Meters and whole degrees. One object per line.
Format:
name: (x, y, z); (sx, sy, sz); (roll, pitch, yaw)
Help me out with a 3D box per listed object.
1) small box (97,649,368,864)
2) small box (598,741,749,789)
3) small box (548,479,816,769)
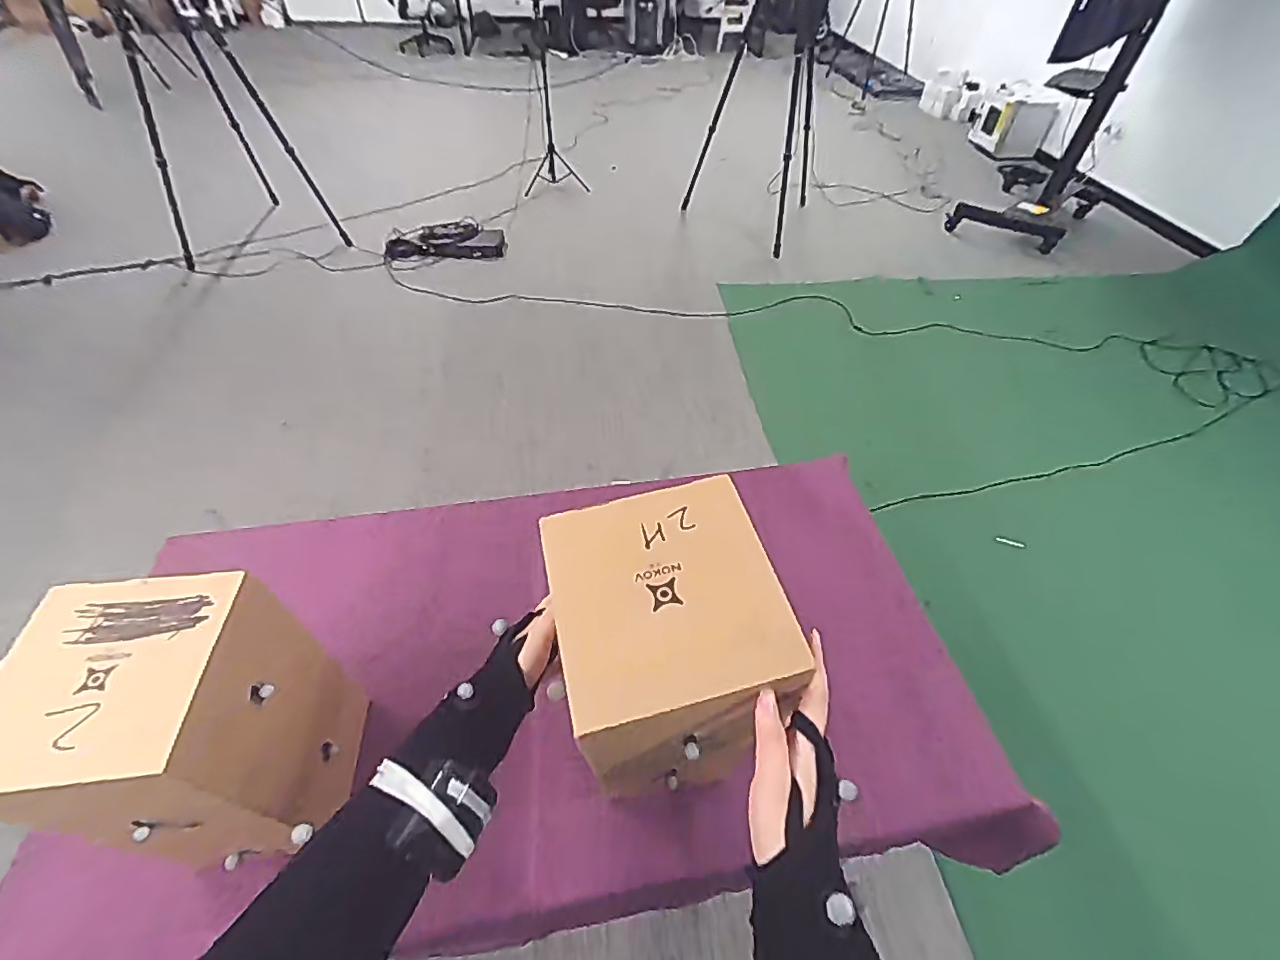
small box: (-0.435, 0.317, 0.622); (0.168, 0.176, 0.179); (-4, 50, -6)
small box: (0.025, 0.271, 0.677); (0.168, 0.176, 0.179); (-5, 50, -7)
small box: (0.026, 0.130, 0.464); (0.168, 0.176, 0.179); (-13, 52, -6)
